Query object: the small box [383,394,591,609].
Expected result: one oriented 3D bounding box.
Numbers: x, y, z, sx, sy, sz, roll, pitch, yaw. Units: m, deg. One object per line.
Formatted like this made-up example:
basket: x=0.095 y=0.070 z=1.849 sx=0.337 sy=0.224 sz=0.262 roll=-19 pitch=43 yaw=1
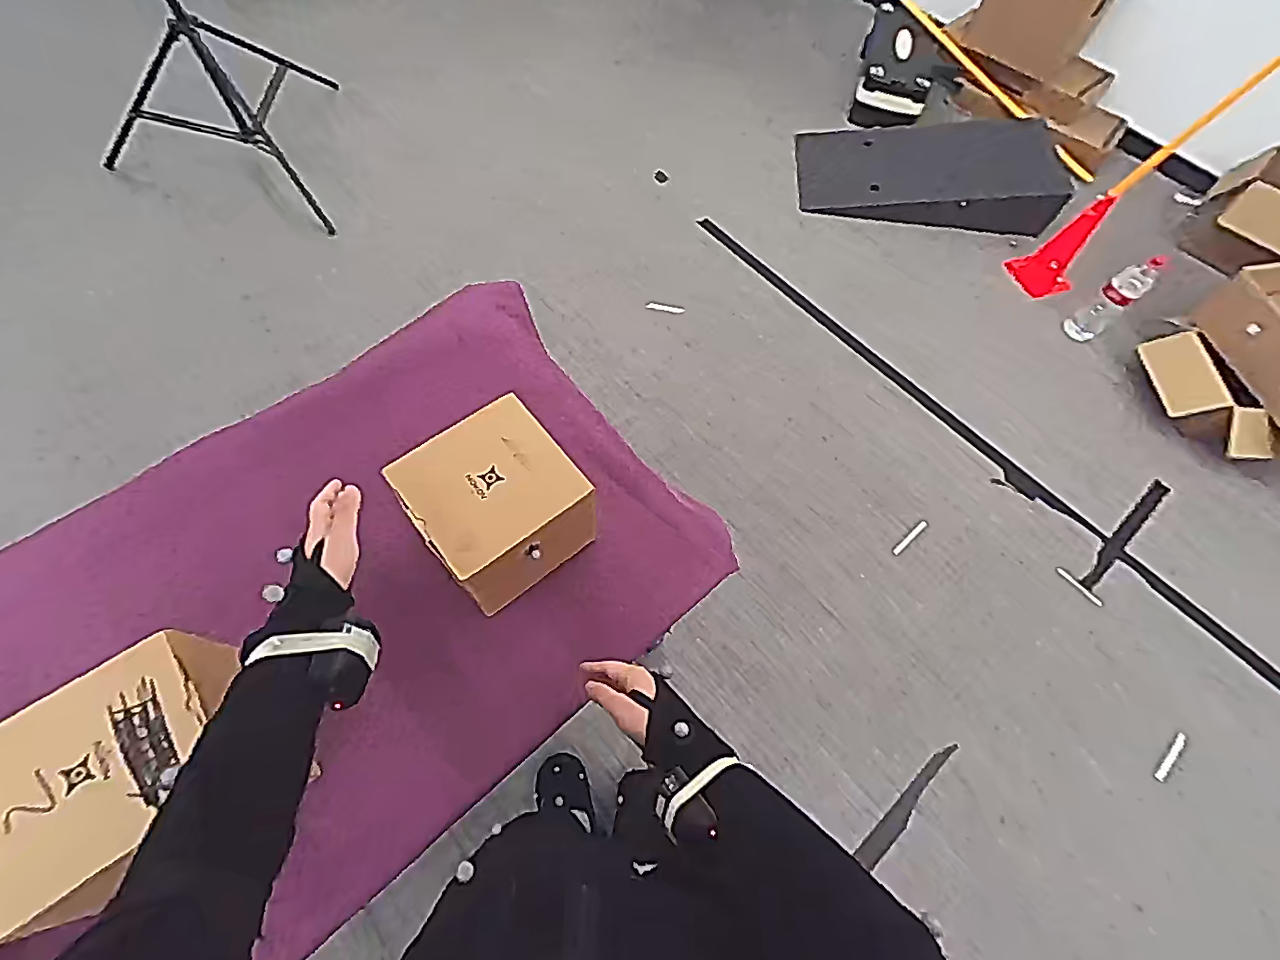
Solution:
small box: x=-0.173 y=0.035 z=0.671 sx=0.179 sy=0.176 sz=0.168 roll=-36 pitch=72 yaw=-20
